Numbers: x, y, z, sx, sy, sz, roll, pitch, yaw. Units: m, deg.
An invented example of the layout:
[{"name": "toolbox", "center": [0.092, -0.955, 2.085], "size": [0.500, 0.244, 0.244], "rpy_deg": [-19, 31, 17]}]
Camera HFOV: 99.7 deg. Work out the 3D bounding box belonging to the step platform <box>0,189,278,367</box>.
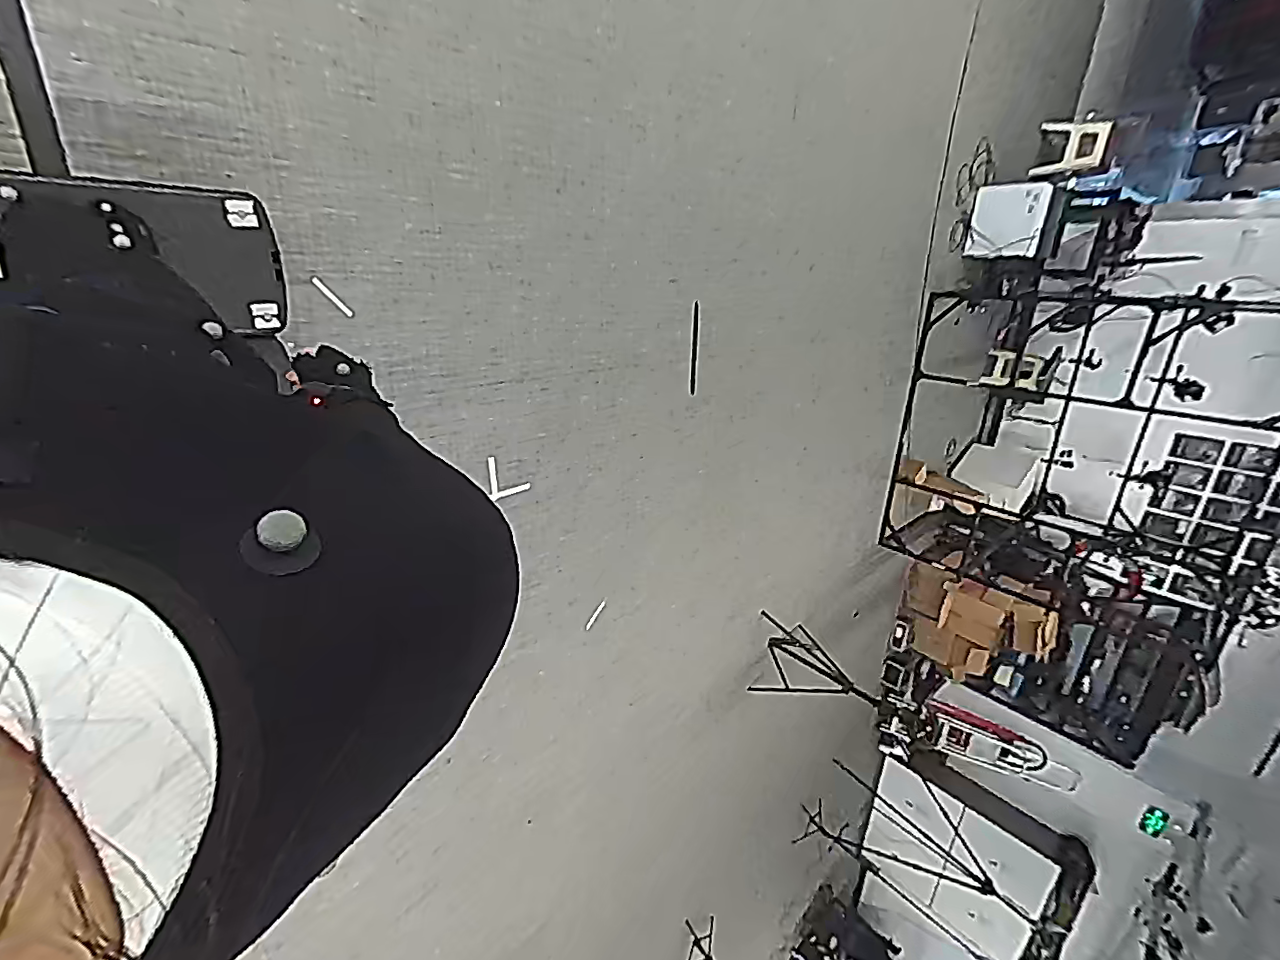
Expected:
[{"name": "step platform", "center": [-1.078, -0.368, 0.989], "size": [0.684, 0.204, 0.286], "rpy_deg": [-19, 120, -40]}]
